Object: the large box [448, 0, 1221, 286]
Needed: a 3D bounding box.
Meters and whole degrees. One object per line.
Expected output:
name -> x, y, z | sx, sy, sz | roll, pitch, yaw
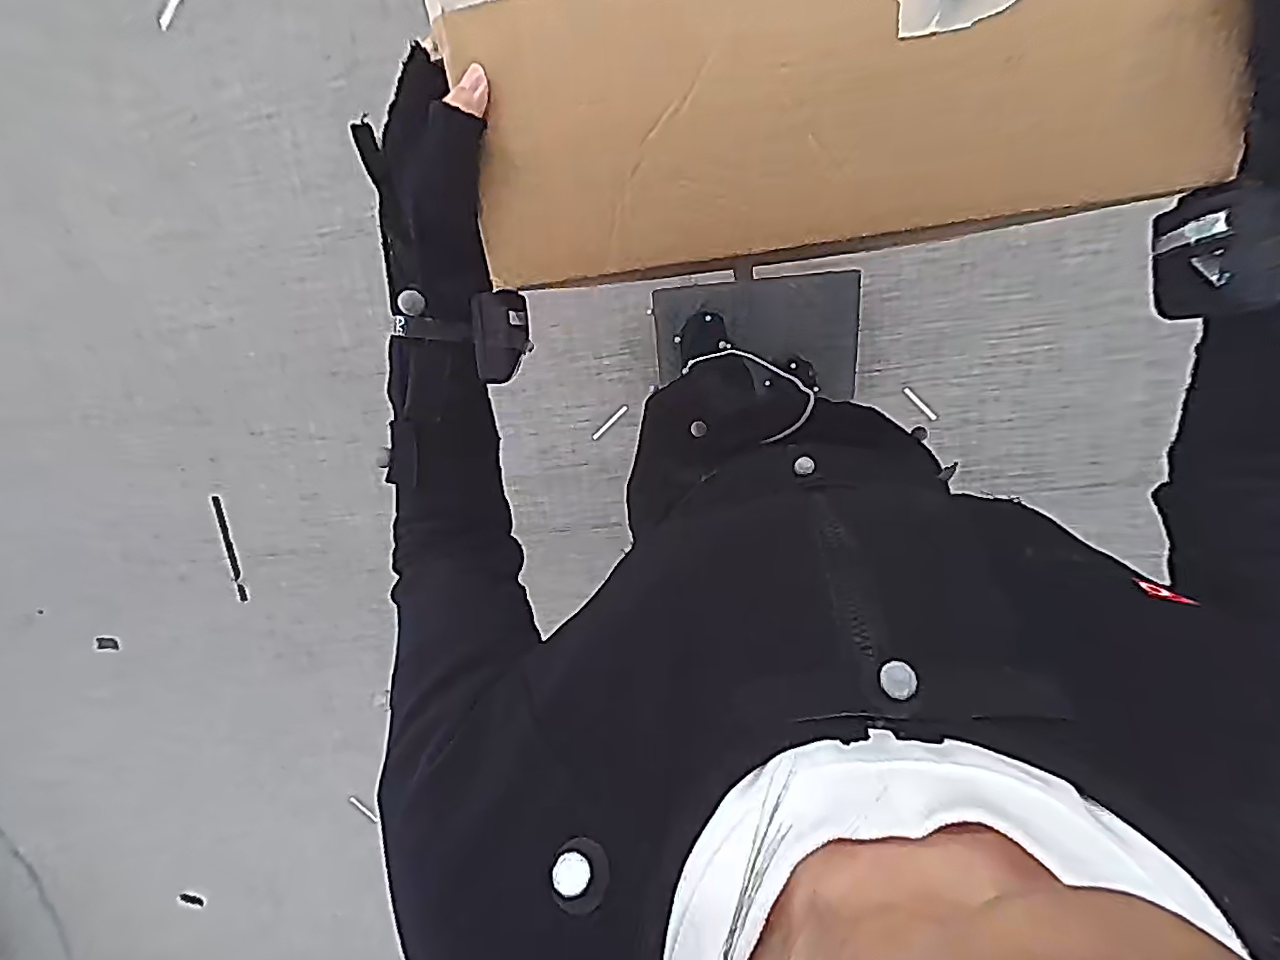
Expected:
large box -> 0.101, -0.342, 0.417 | 0.408, 0.320, 0.320 | -5, 109, 10
